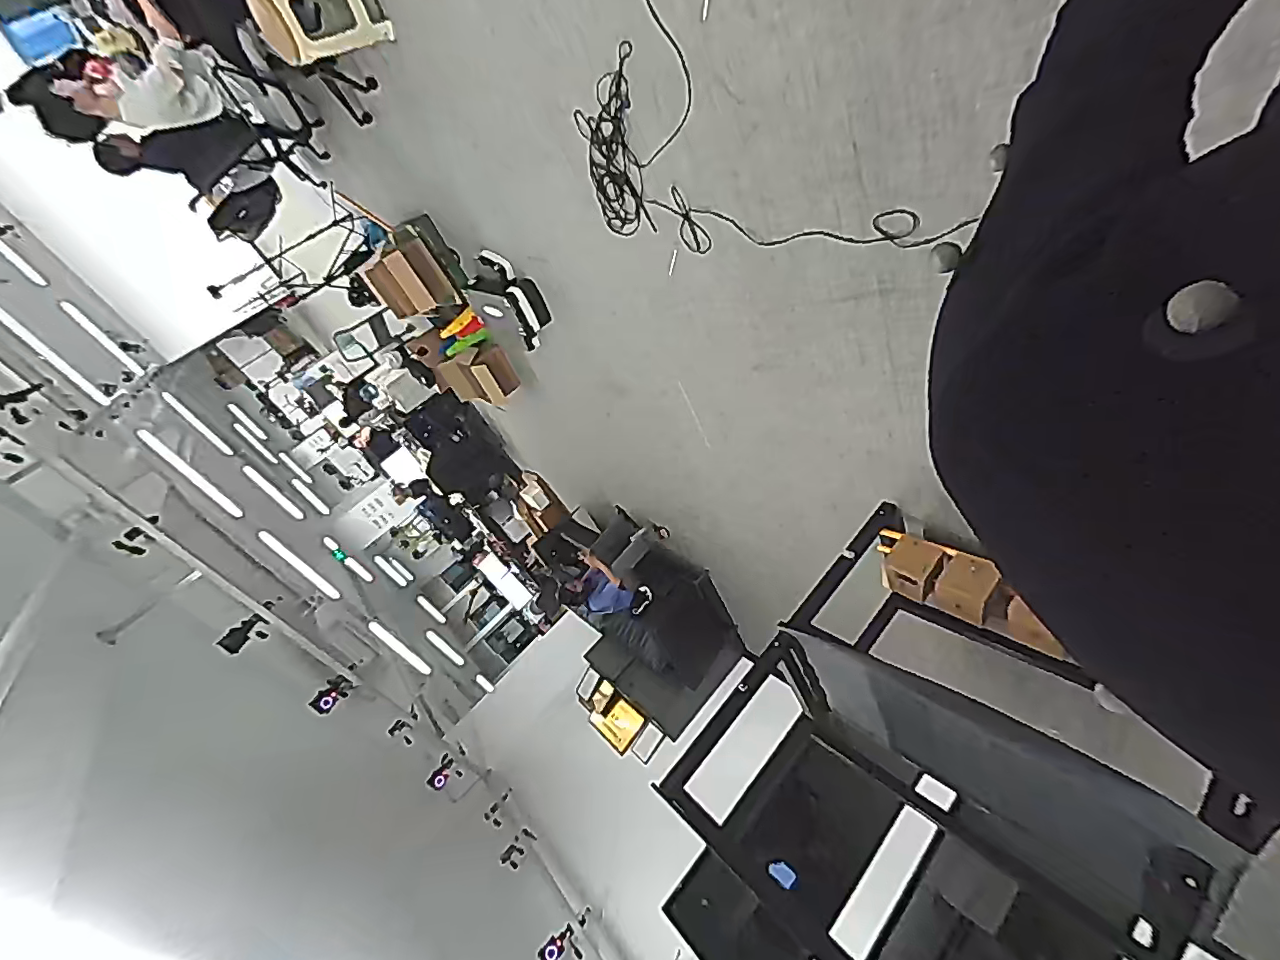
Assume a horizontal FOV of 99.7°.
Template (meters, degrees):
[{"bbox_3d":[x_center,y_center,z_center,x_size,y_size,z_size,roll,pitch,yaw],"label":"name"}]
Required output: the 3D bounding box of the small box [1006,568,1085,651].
[{"bbox_3d":[1.371,0.433,1.828,0.168,0.176,0.179,24,148,49],"label":"small box"}]
